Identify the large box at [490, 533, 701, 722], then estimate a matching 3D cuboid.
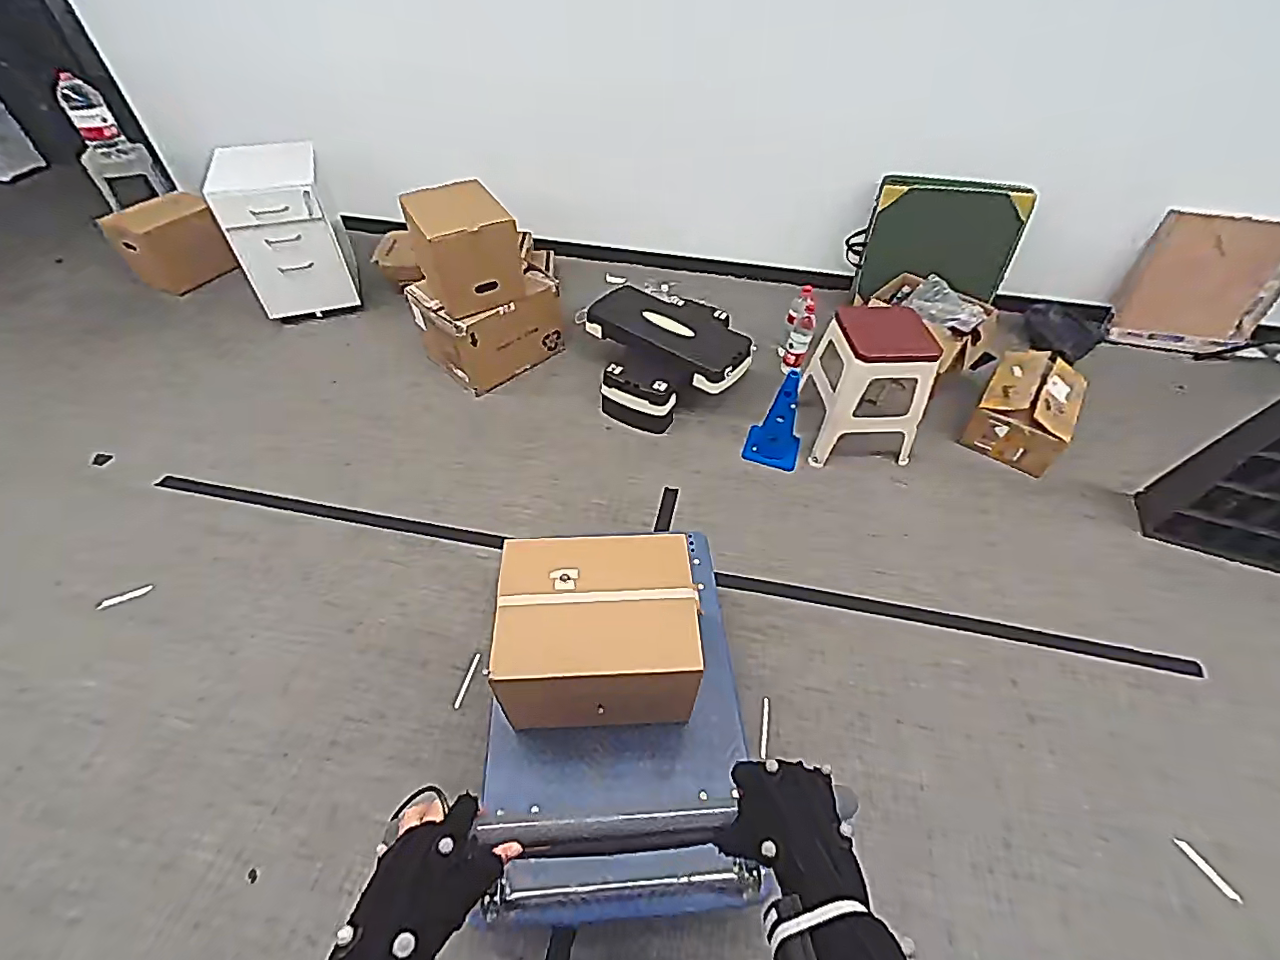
[{"bbox_3d":[-0.092,0.339,1.223,0.408,0.320,0.320,-2,50,-3],"label":"large box"}]
